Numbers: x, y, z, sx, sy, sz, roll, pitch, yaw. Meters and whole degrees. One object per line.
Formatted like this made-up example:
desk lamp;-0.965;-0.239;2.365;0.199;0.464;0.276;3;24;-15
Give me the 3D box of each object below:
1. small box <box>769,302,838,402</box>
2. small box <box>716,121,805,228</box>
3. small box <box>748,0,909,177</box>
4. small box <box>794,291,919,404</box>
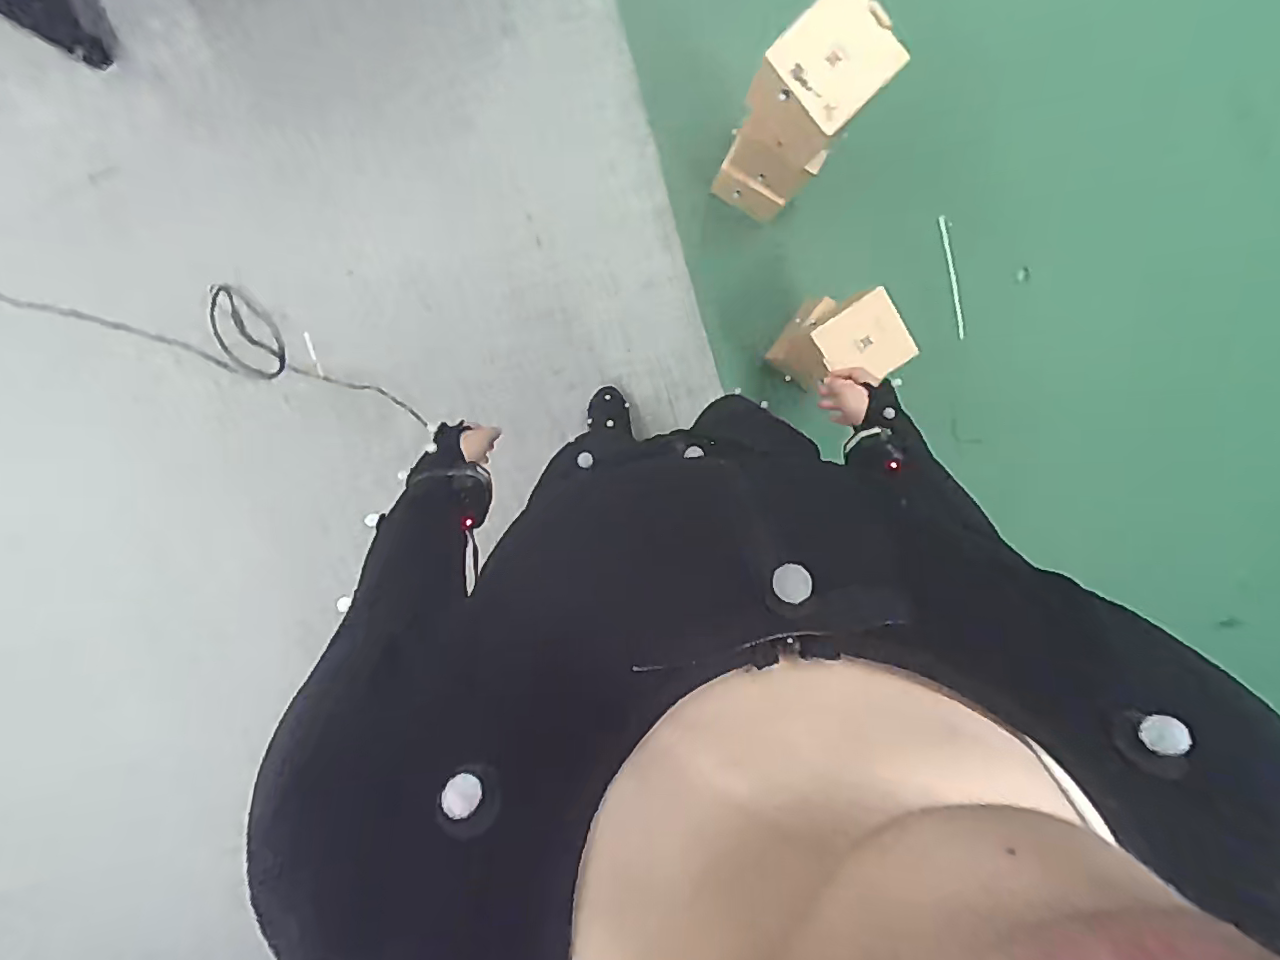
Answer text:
small box;0.447;-0.315;1.347;0.168;0.176;0.179;34;99;-7
small box;0.292;-0.725;1.267;0.168;0.176;0.179;28;98;-6
small box;0.315;-0.678;0.943;0.179;0.176;0.168;-42;98;7
small box;0.460;-0.284;1.188;0.179;0.176;0.168;-35;101;4
